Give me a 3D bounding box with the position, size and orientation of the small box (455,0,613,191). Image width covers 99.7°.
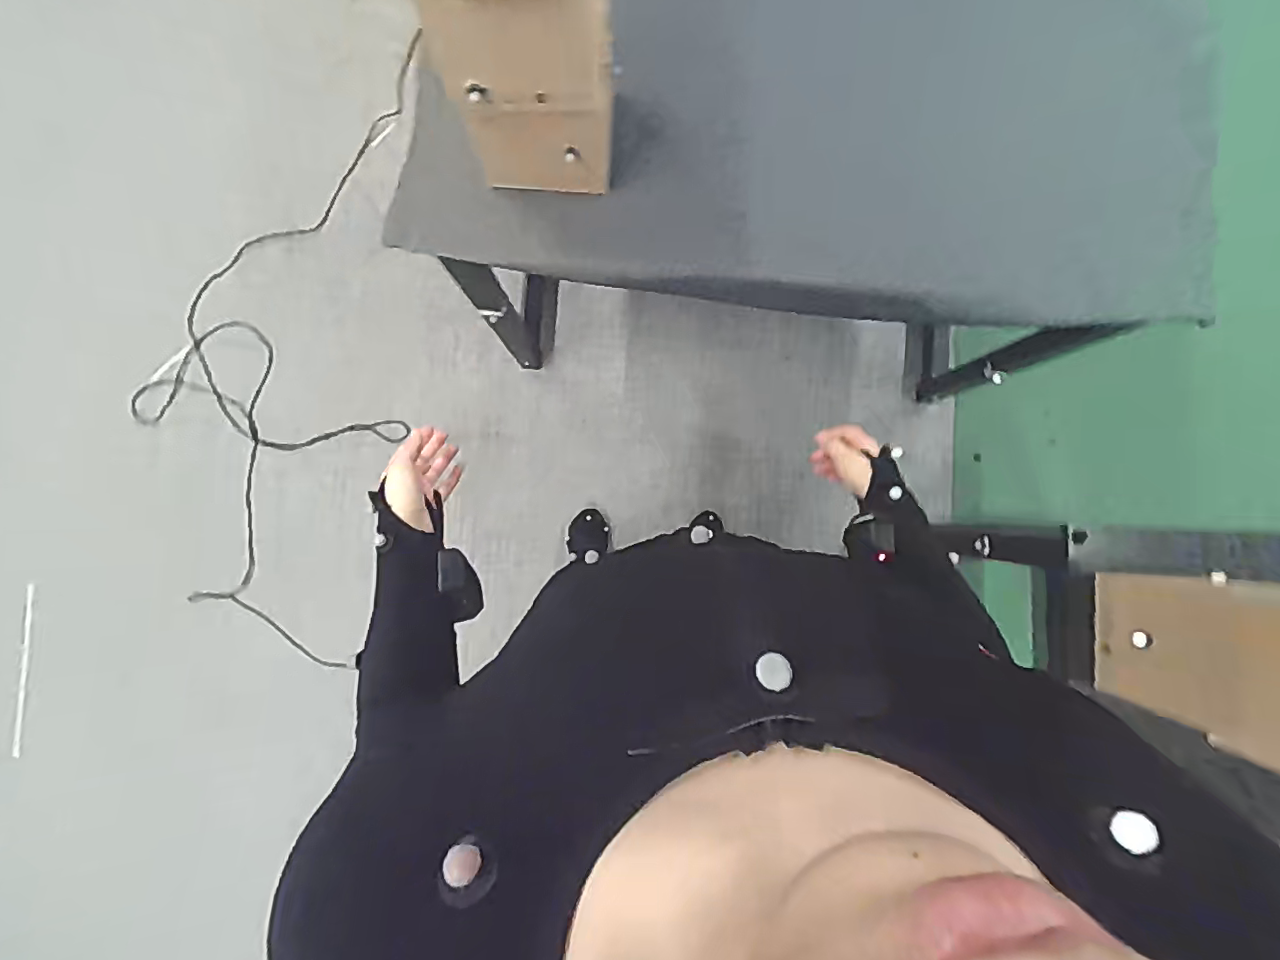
[{"bbox_3d":[-0.129,-0.516,0.725,0.179,0.176,0.168,2,85,1],"label":"small box"}]

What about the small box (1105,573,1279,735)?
[{"bbox_3d":[0.741,0.213,0.686,0.179,0.176,0.168,3,88,0],"label":"small box"}]

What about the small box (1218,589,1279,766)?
[{"bbox_3d":[0.725,0.210,0.524,0.168,0.176,0.179,3,87,0],"label":"small box"}]
